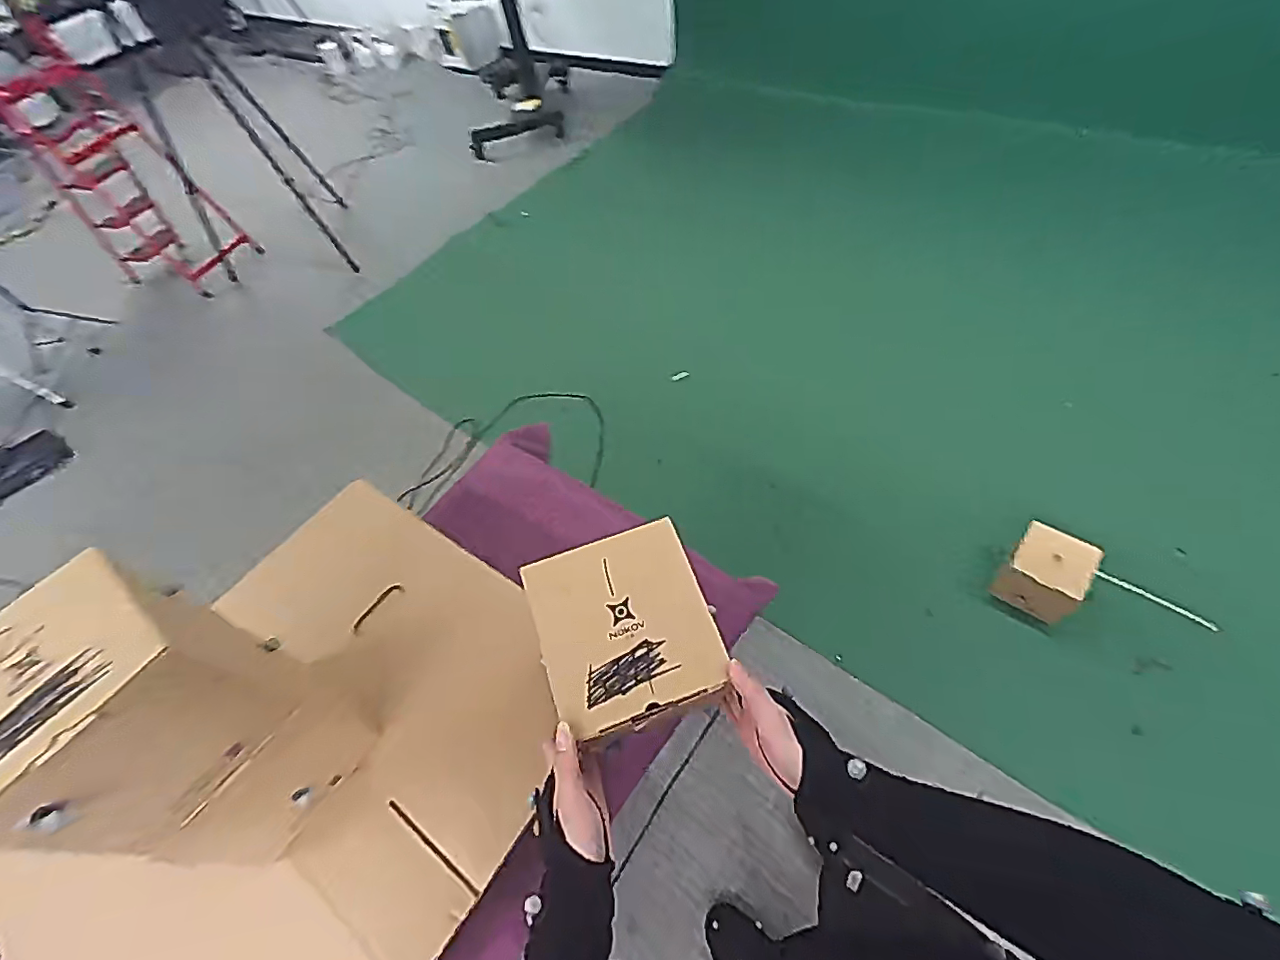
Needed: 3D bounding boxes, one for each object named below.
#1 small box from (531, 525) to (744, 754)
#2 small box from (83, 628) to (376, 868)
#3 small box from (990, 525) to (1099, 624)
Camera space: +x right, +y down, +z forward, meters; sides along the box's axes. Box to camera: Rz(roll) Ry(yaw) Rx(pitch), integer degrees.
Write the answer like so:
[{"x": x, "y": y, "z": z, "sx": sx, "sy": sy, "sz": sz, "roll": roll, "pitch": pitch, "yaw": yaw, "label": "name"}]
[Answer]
[{"x": -0.004, "y": 0.178, "z": 0.585, "sx": 0.168, "sy": 0.176, "sz": 0.179, "roll": -18, "pitch": 61, "yaw": -7, "label": "small box"}, {"x": -0.449, "y": 0.308, "z": 0.616, "sx": 0.179, "sy": 0.176, "sz": 0.168, "roll": 28, "pitch": 62, "yaw": 25, "label": "small box"}, {"x": 1.103, "y": 0.263, "z": 1.487, "sx": 0.168, "sy": 0.176, "sz": 0.179, "roll": 30, "pitch": 66, "yaw": 27, "label": "small box"}]
